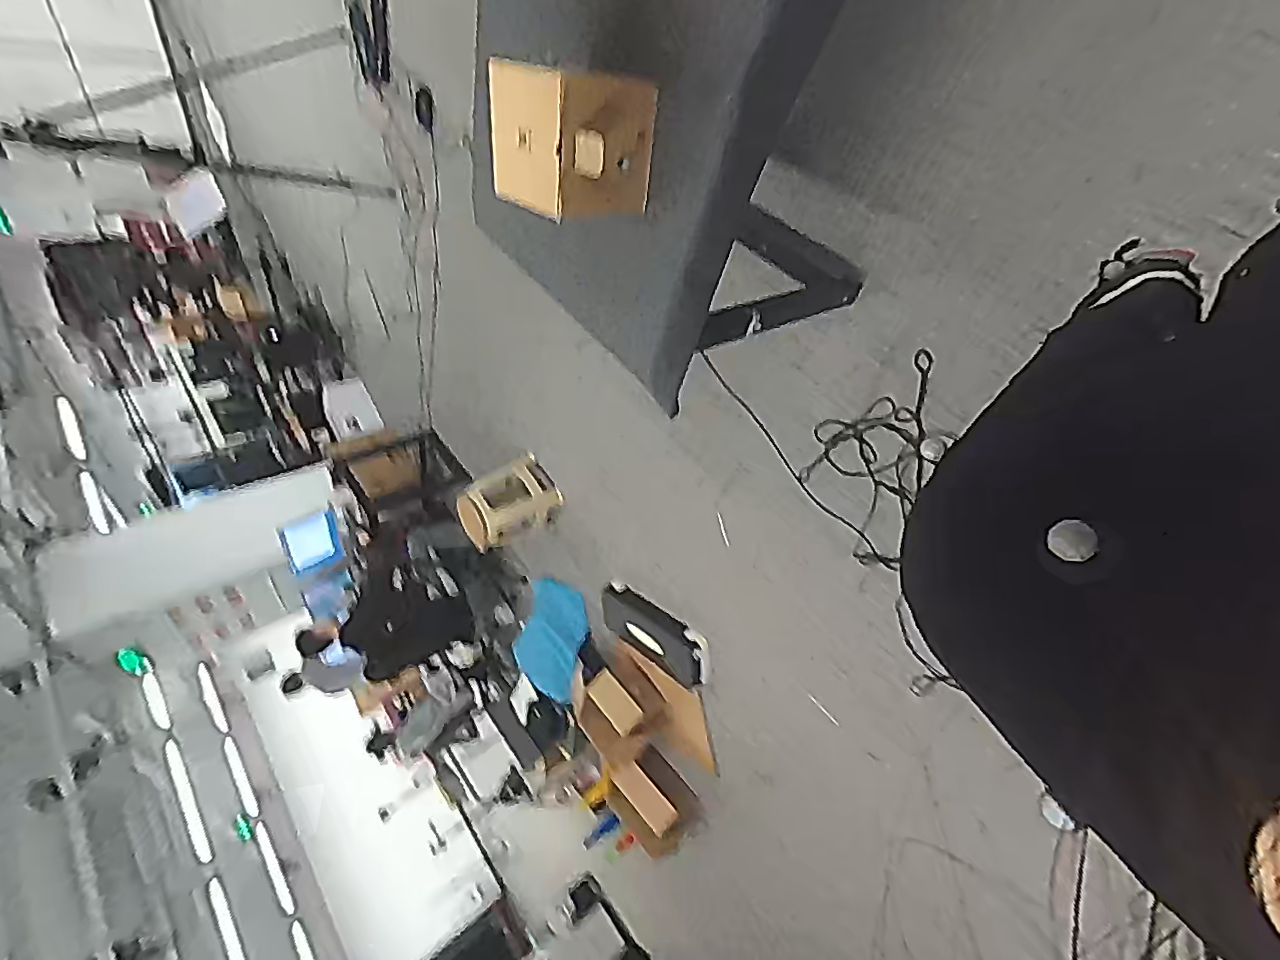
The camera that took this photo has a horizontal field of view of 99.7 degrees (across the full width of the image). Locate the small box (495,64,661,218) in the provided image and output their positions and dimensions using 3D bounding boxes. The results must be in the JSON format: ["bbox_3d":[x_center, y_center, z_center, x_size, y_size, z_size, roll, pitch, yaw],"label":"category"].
[{"bbox_3d":[-0.095,-0.497,0.802,0.179,0.176,0.168,37,135,34],"label":"small box"}]
